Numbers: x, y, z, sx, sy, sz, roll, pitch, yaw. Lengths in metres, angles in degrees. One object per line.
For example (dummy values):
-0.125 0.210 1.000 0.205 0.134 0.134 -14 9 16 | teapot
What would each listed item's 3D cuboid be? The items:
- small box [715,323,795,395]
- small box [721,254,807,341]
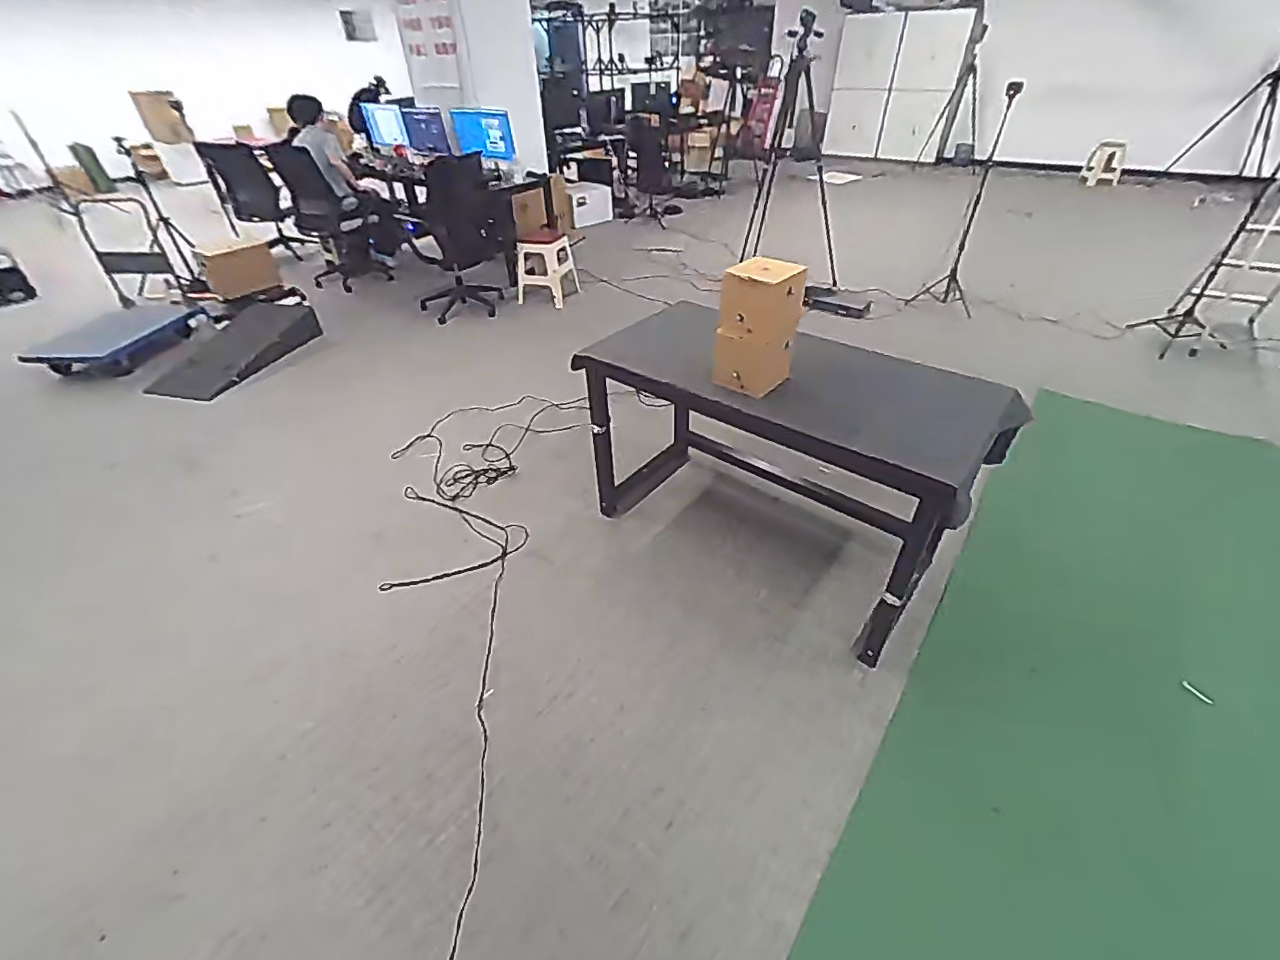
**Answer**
0.333 -0.376 1.597 0.168 0.176 0.179 26 46 32 | small box
0.337 -0.507 1.502 0.168 0.176 0.179 28 47 31 | small box
